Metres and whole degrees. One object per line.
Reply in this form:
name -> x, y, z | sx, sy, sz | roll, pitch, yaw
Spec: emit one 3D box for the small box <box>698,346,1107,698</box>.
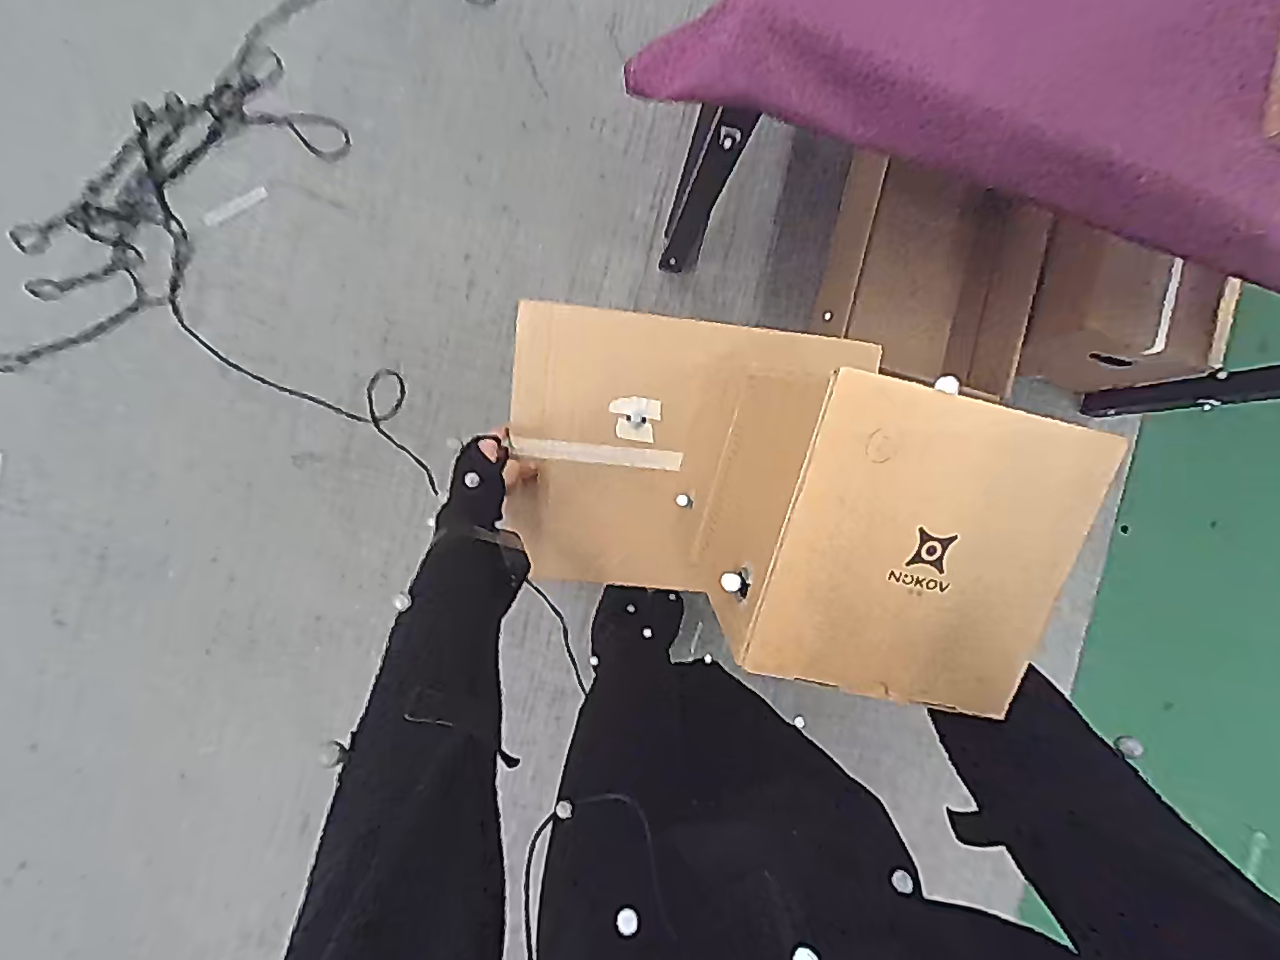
small box -> 0.147, 0.013, 0.375 | 0.168, 0.176, 0.179 | 13, 103, -6
